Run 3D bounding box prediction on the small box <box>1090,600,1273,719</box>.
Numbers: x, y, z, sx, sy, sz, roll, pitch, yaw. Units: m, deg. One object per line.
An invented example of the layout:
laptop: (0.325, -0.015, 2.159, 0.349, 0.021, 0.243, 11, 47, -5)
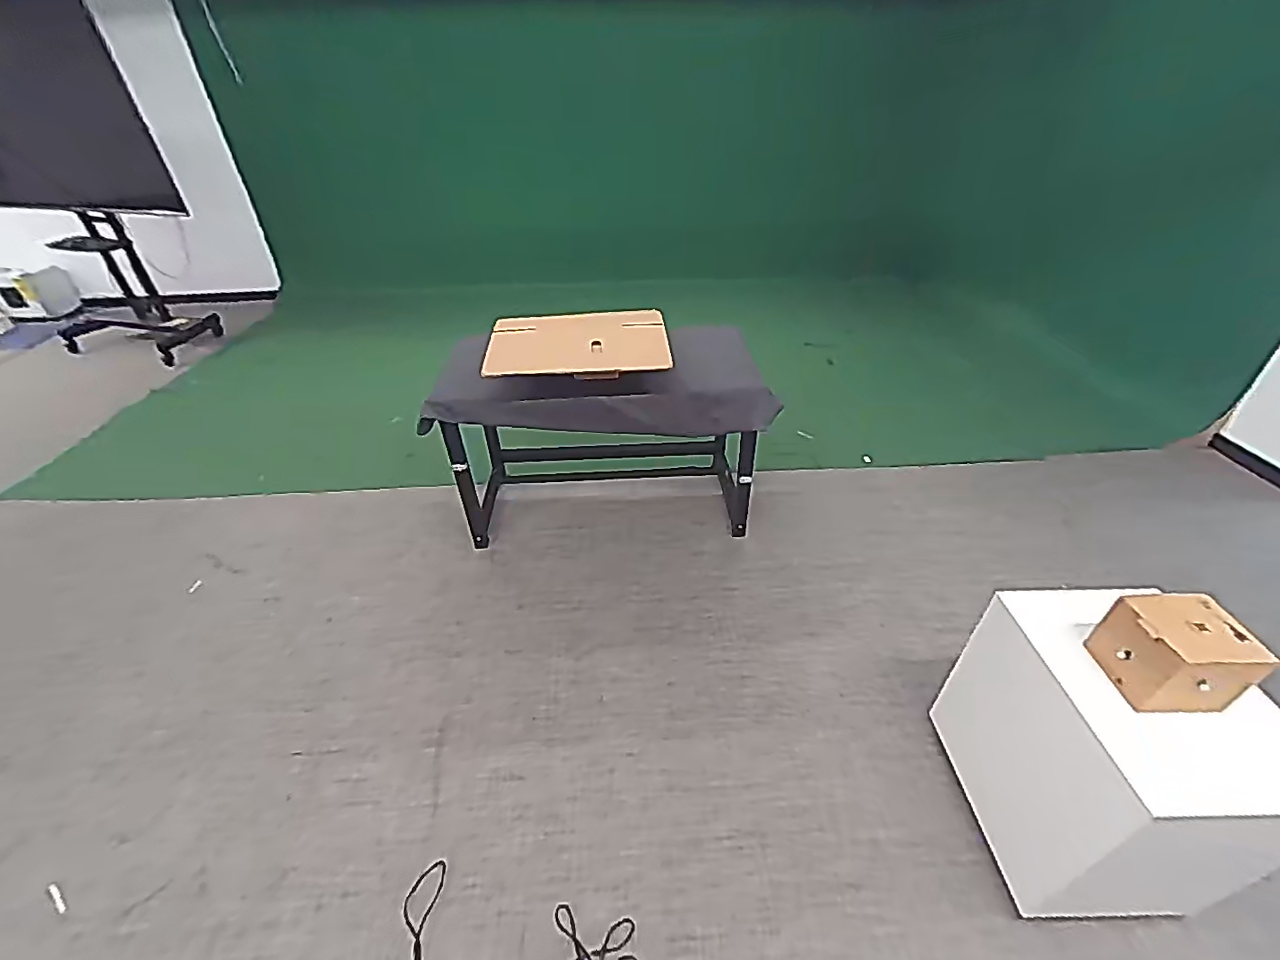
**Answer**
small box: (1.063, 0.362, 1.087, 0.179, 0.176, 0.168, -2, 36, -2)
